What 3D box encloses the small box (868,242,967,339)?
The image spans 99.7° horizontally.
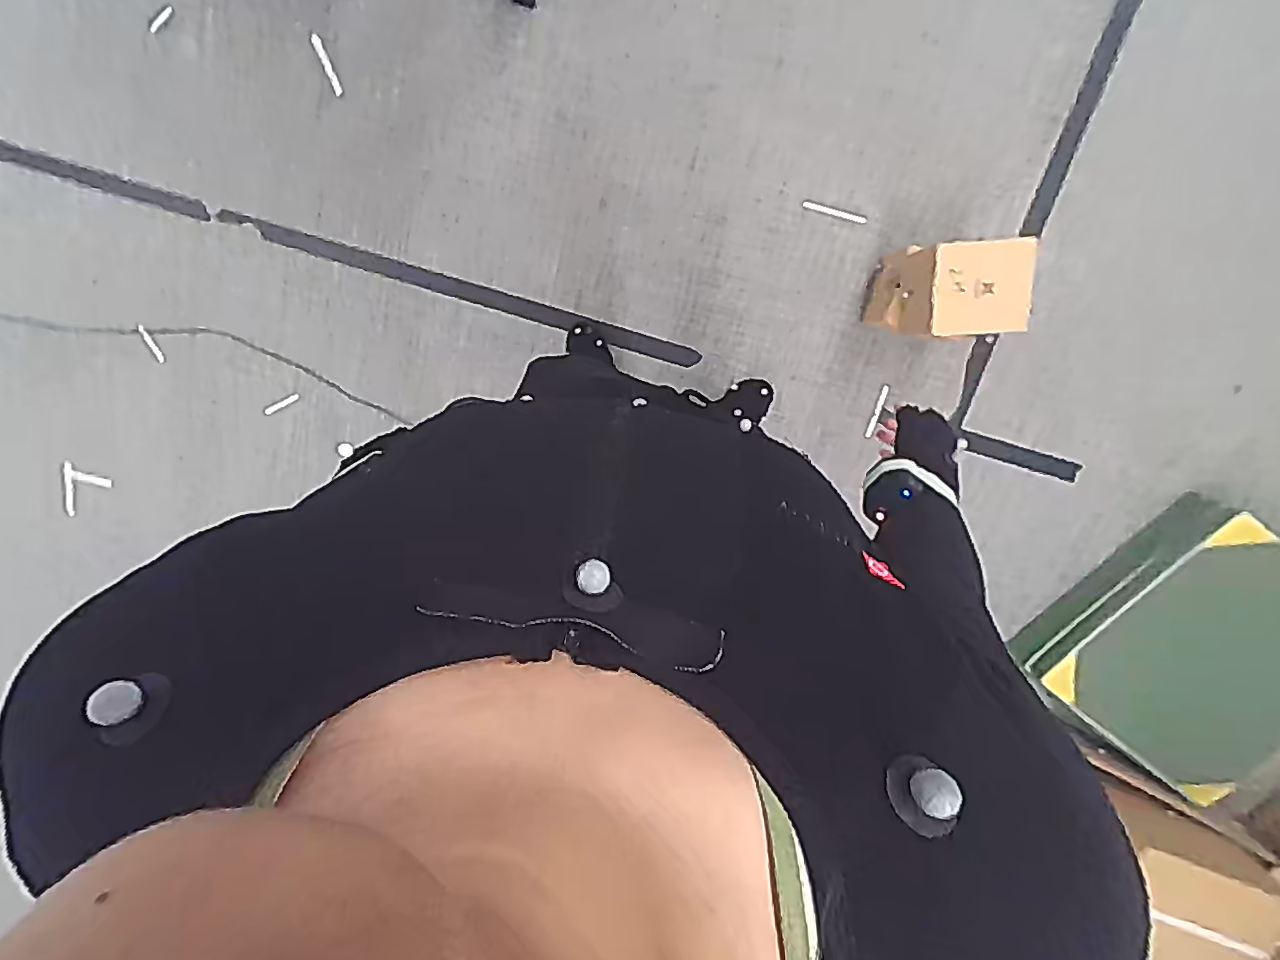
[{"bbox_3d":[0.648,-0.422,1.228,0.179,0.176,0.168,15,107,1],"label":"small box"}]

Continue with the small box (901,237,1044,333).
[{"bbox_3d":[0.644,-0.378,1.069,0.179,0.176,0.168,3,105,7],"label":"small box"}]
